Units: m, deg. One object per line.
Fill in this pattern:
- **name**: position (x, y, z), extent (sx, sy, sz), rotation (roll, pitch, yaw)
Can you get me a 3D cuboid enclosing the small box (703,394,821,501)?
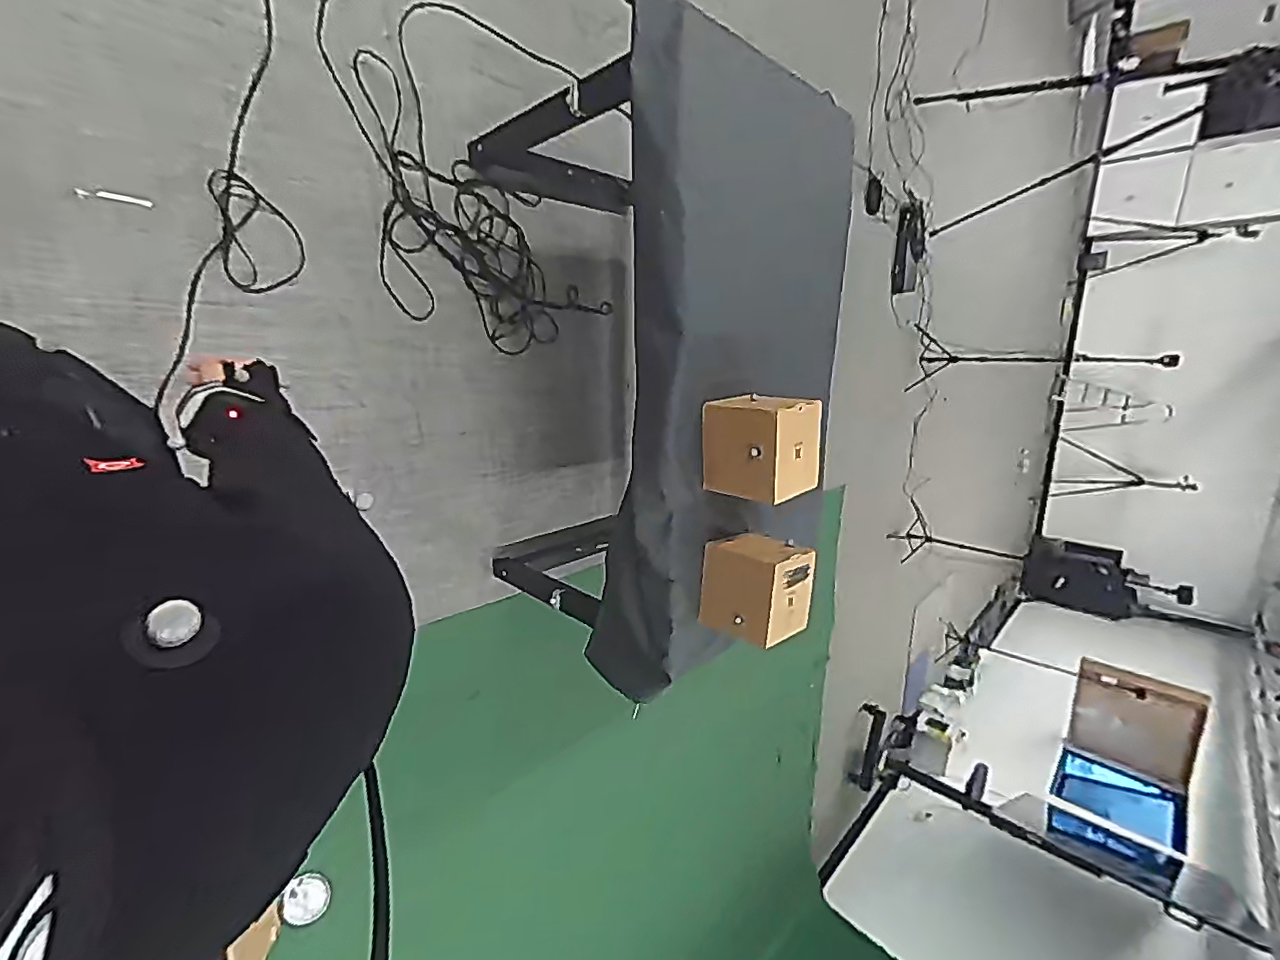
- **small box**: position (0.237, -0.073, 1.070), extent (0.168, 0.176, 0.179), rotation (-16, 110, -43)
